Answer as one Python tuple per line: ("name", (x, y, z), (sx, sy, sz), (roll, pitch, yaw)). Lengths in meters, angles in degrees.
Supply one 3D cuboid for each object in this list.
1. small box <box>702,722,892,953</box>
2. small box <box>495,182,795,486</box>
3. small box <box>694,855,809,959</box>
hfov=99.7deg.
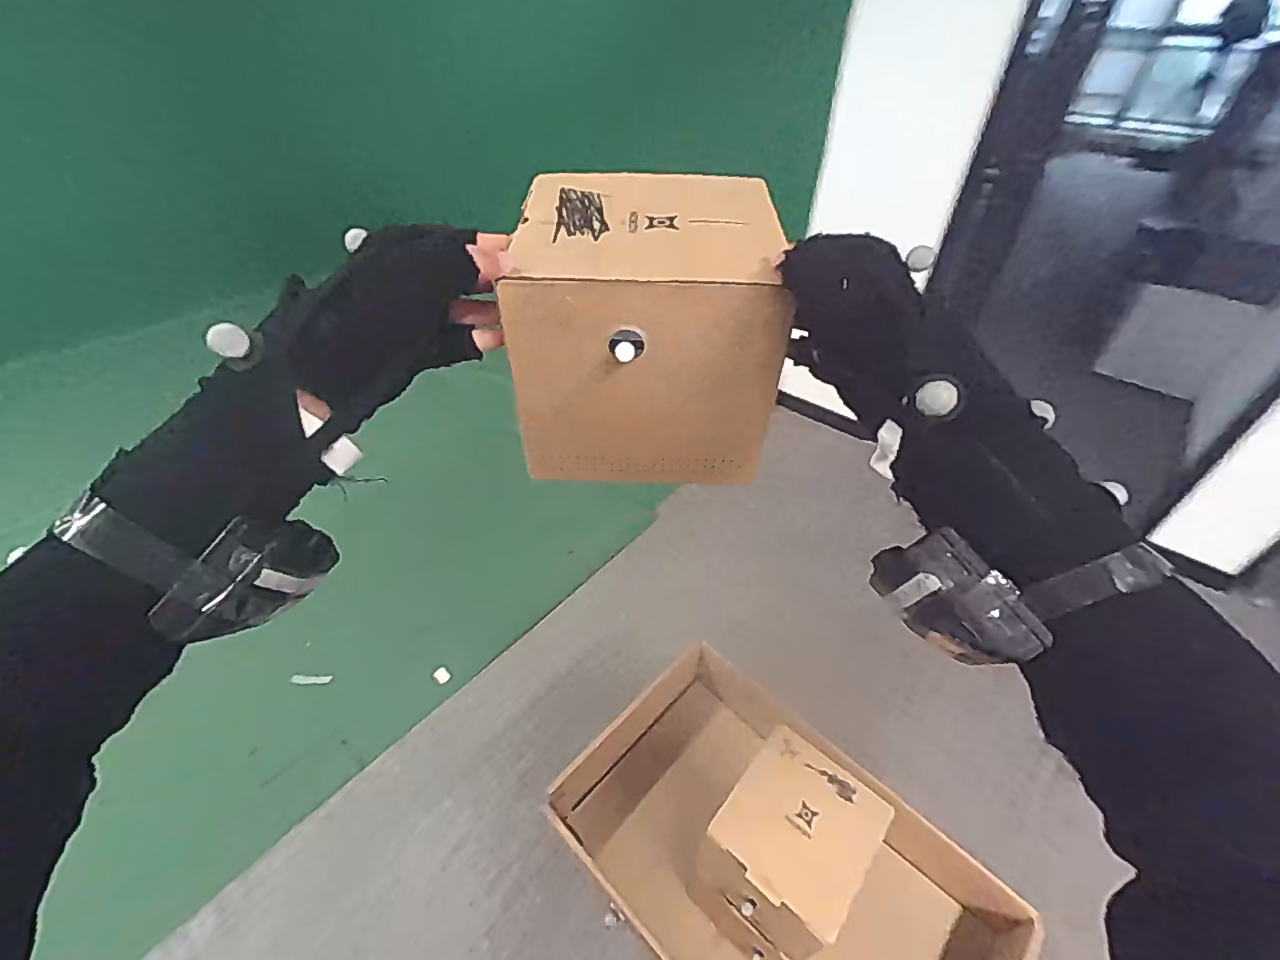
("small box", (0.194, 0.470, 0.712), (0.168, 0.176, 0.179), (33, 52, 28))
("small box", (0.003, -0.110, 0.419), (0.179, 0.176, 0.168), (2, 48, -1))
("small box", (0.195, 0.594, 0.819), (0.168, 0.176, 0.179), (32, 50, 28))
